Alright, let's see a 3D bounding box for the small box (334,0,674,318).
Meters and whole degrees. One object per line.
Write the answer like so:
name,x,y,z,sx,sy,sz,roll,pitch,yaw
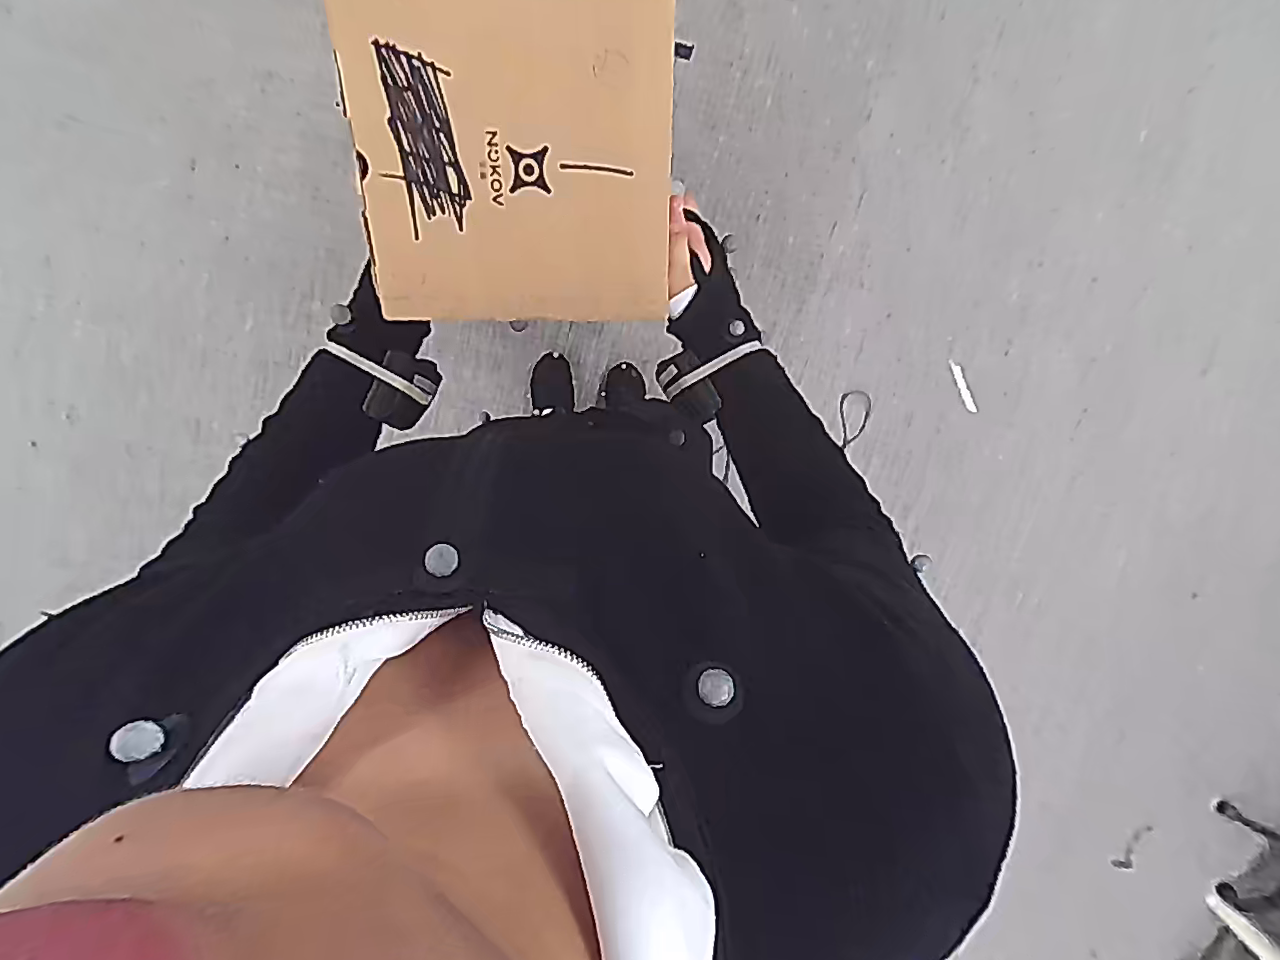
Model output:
small box,-0.071,-0.211,0.379,0.179,0.176,0.168,-1,116,-1
